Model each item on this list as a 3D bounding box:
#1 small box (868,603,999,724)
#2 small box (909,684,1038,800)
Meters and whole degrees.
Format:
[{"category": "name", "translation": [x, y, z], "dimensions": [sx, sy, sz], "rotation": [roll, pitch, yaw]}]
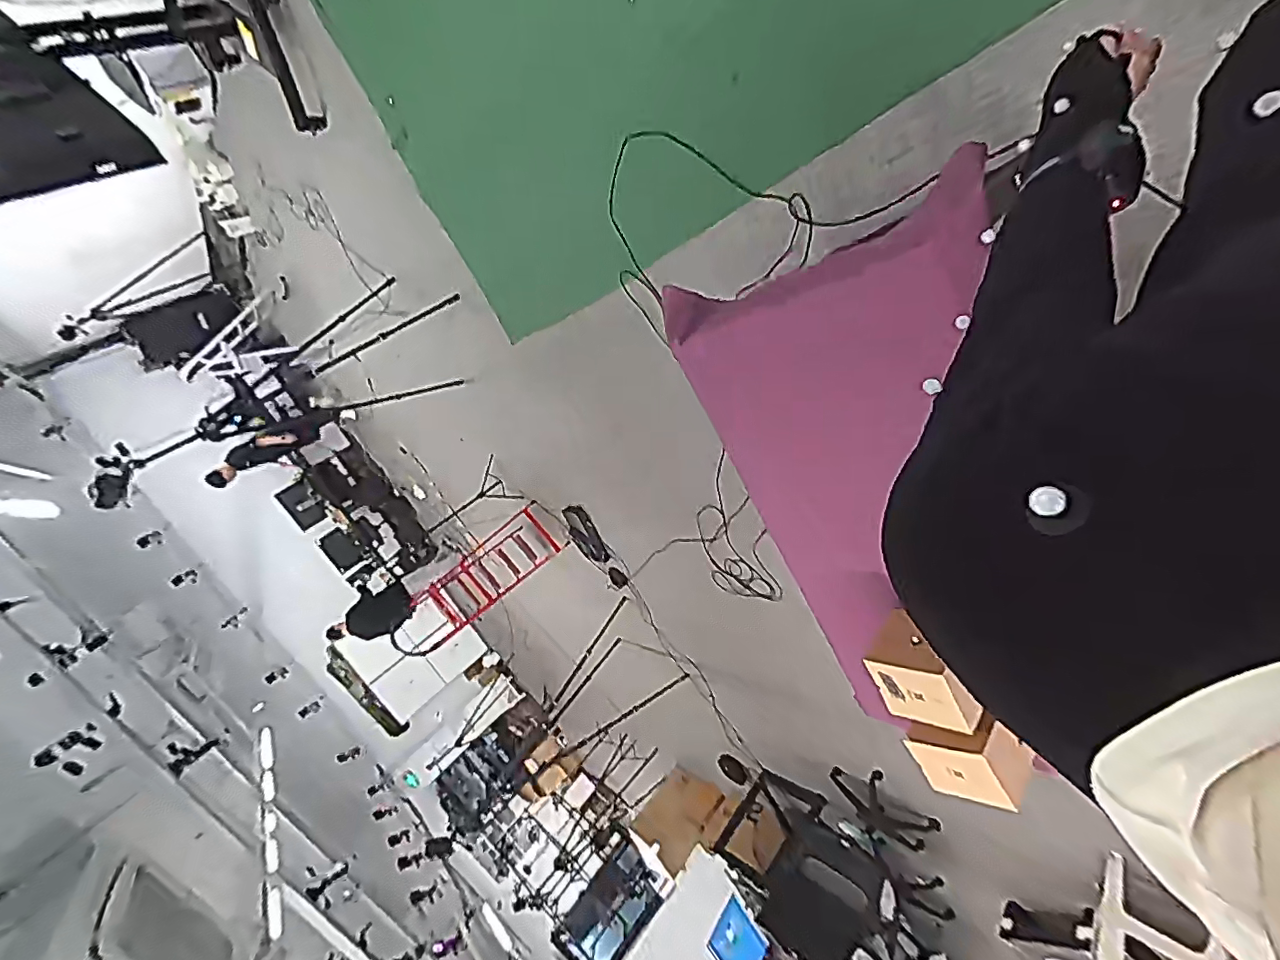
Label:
[{"category": "small box", "translation": [0.641, 0.389, 1.180], "dimensions": [0.179, 0.176, 0.168], "rotation": [-9, 117, 55]}, {"category": "small box", "translation": [0.760, 0.575, 1.232], "dimensions": [0.168, 0.176, 0.179], "rotation": [56, 149, -11]}]
